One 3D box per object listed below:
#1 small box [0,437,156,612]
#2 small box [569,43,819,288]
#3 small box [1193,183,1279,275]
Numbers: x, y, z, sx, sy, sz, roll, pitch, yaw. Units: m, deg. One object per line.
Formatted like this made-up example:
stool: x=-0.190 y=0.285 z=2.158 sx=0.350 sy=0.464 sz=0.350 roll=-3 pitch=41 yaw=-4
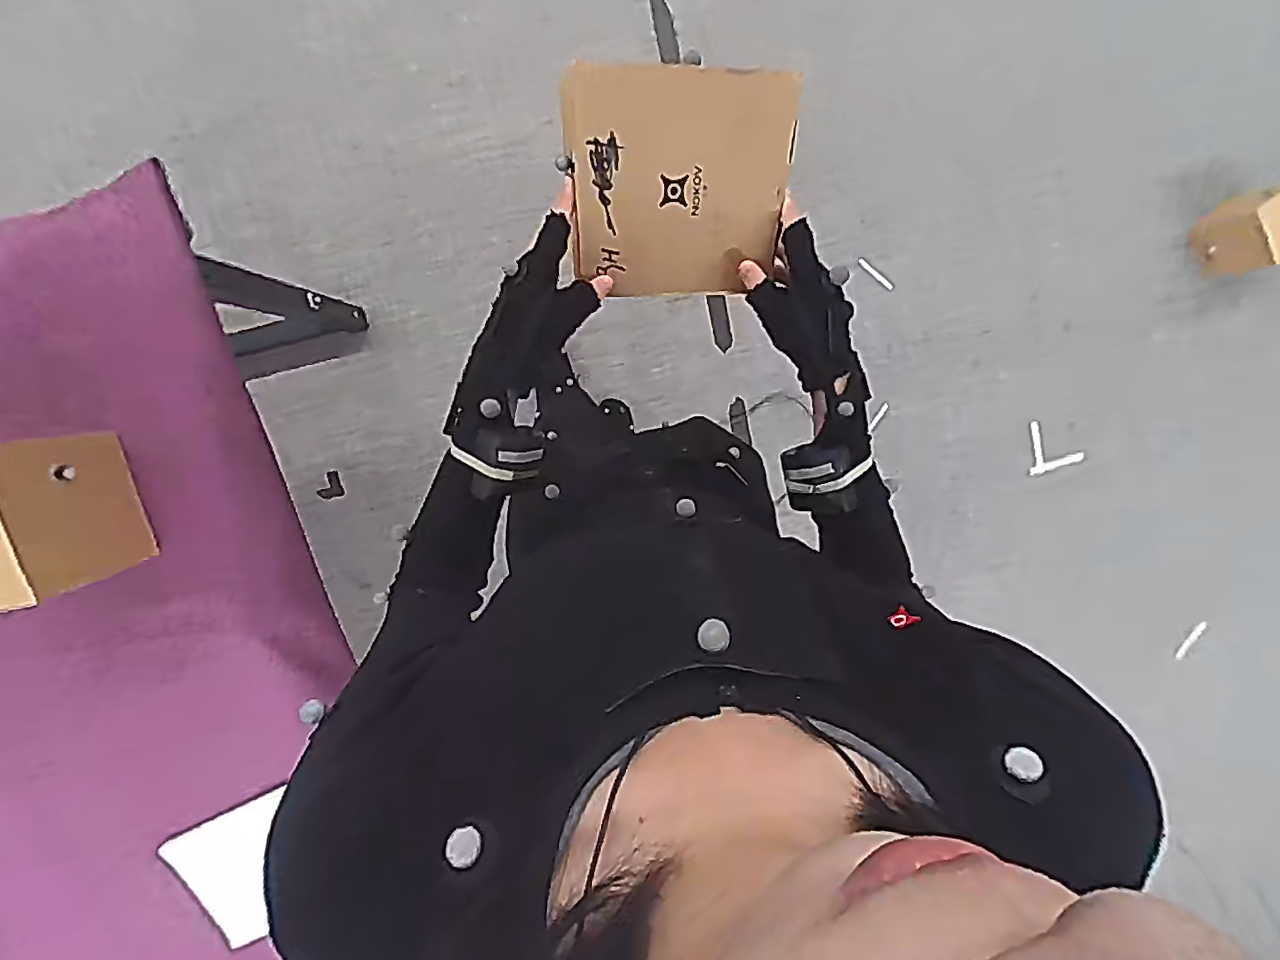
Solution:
small box: x=-0.737 y=0.050 z=0.633 sx=0.168 sy=0.176 sz=0.179 roll=-11 pitch=102 yaw=0
small box: x=0.030 y=-0.280 z=0.491 sx=0.179 sy=0.176 sz=0.168 roll=-4 pitch=124 yaw=-9
small box: x=1.659 y=-0.676 z=1.443 sx=0.179 sy=0.176 sz=0.168 roll=-33 pitch=100 yaw=2
